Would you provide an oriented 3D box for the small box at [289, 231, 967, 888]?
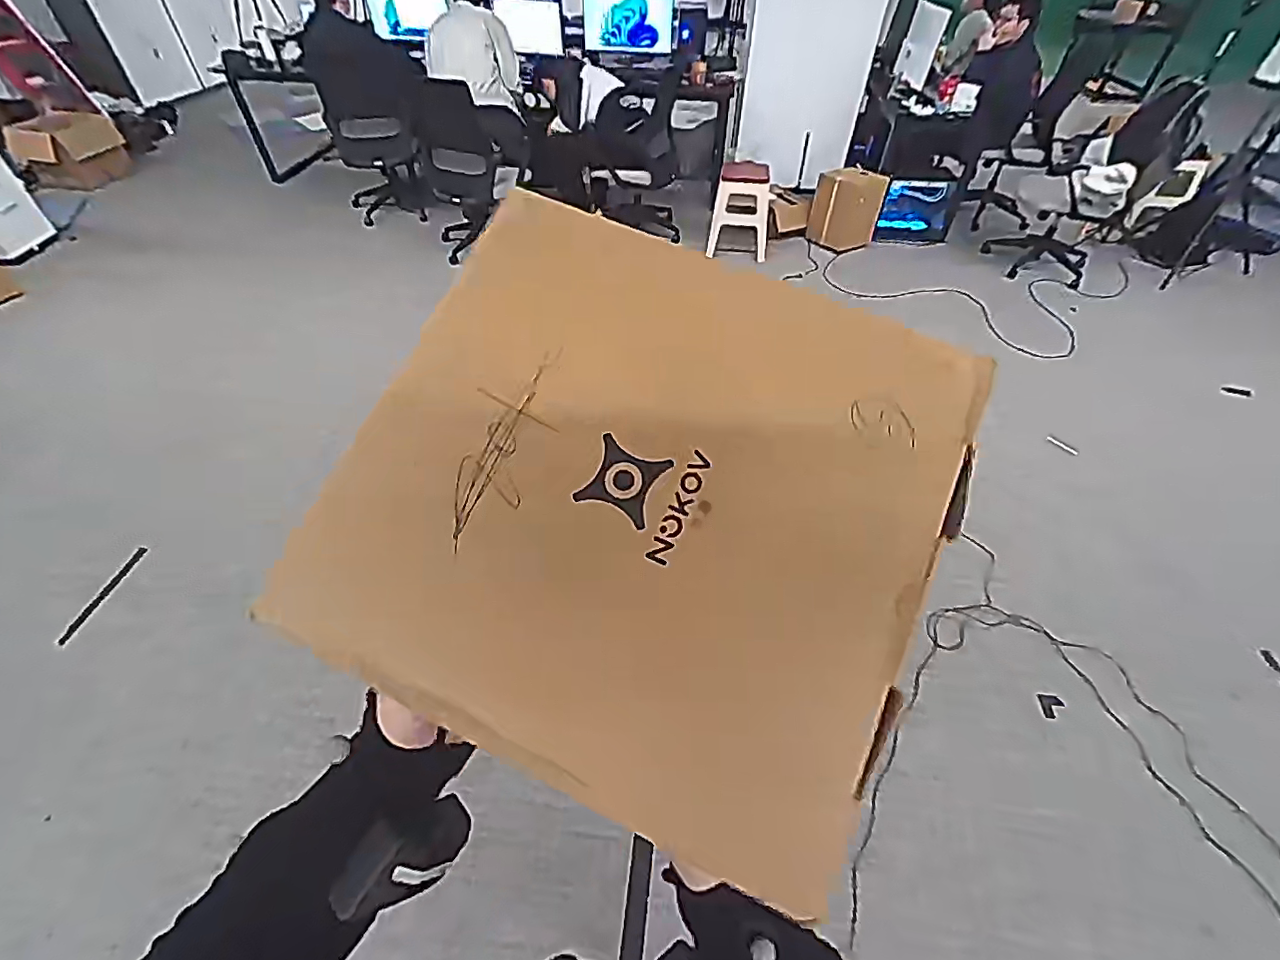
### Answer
[{"bbox_3d":[0.004,0.029,0.251,0.179,0.176,0.168,21,75,9],"label":"small box"}]
